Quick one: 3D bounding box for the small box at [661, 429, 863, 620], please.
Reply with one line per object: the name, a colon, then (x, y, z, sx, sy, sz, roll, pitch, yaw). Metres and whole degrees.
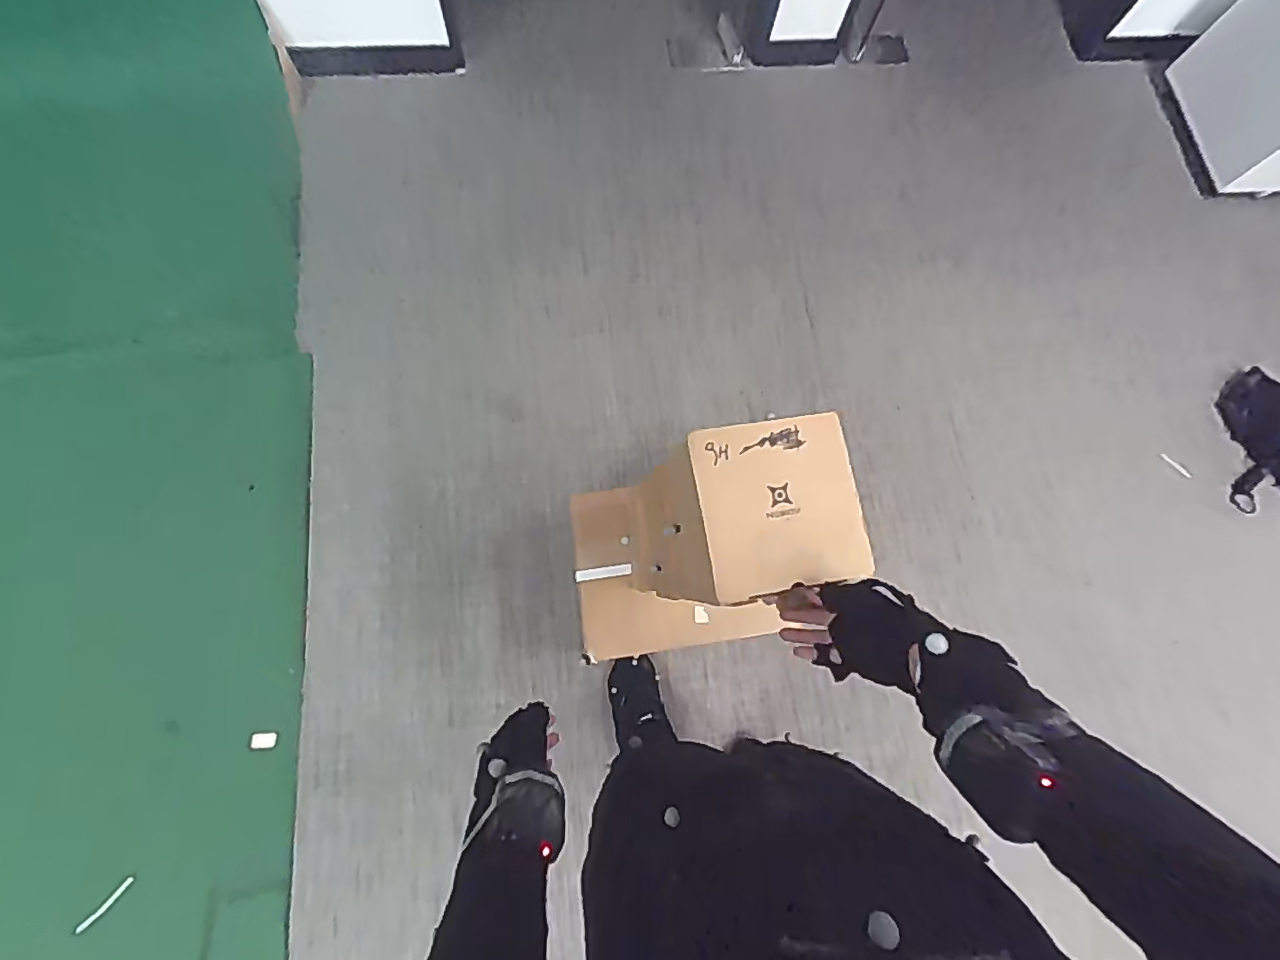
small box: (0.126, 0.054, 0.627, 0.168, 0.176, 0.179, -9, 81, -8)

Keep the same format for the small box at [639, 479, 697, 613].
small box: (0.098, 0.088, 0.785, 0.168, 0.176, 0.179, -9, 79, -8)
